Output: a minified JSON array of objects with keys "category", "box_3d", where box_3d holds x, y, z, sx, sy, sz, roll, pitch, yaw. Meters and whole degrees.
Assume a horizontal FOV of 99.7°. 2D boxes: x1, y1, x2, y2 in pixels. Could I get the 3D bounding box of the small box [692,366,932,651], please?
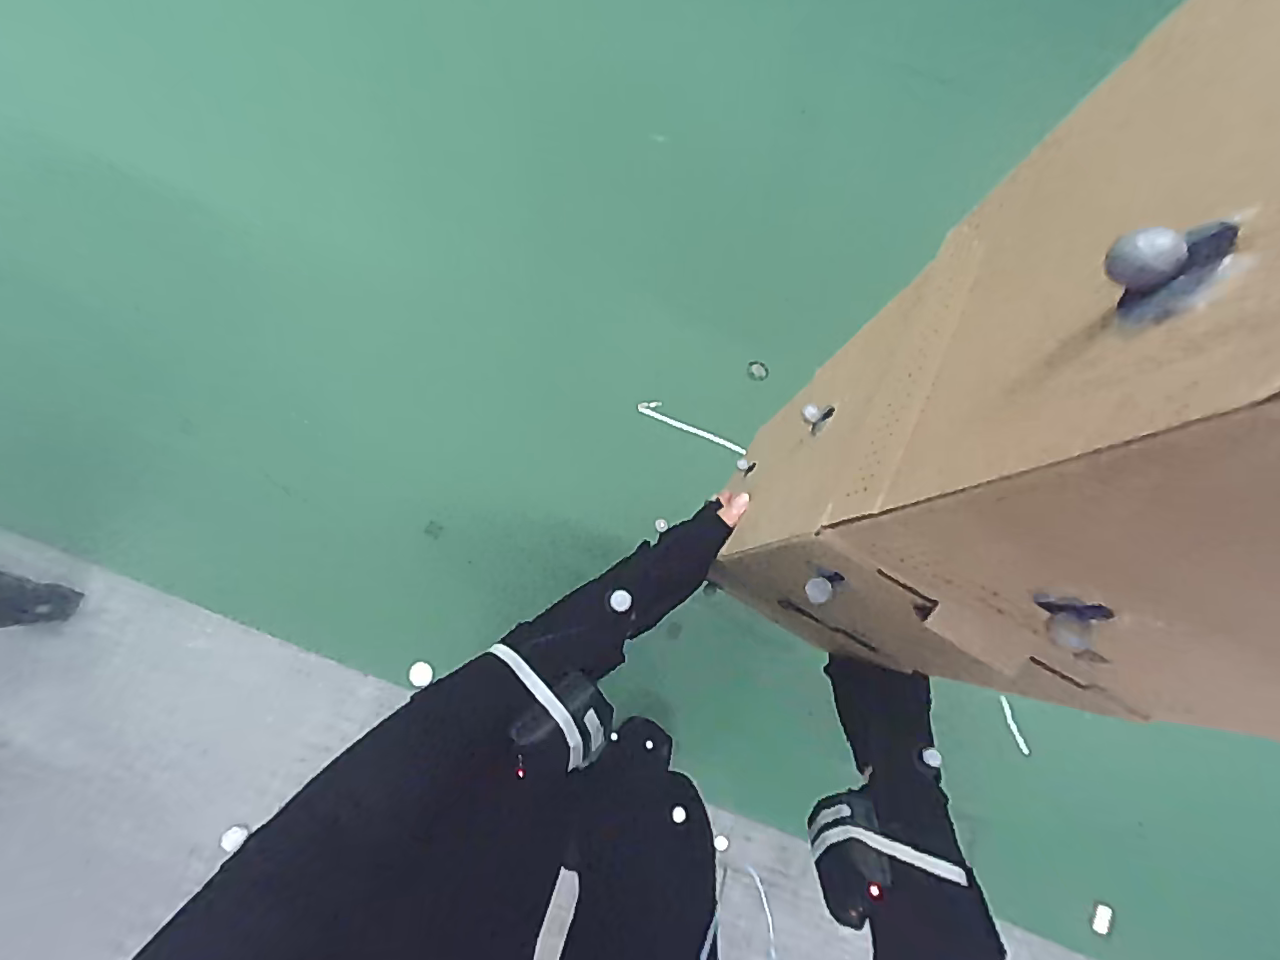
[{"category":"small box","box_3d":[0.162,0.033,0.505,0.168,0.176,0.179,31,77,1]}]
